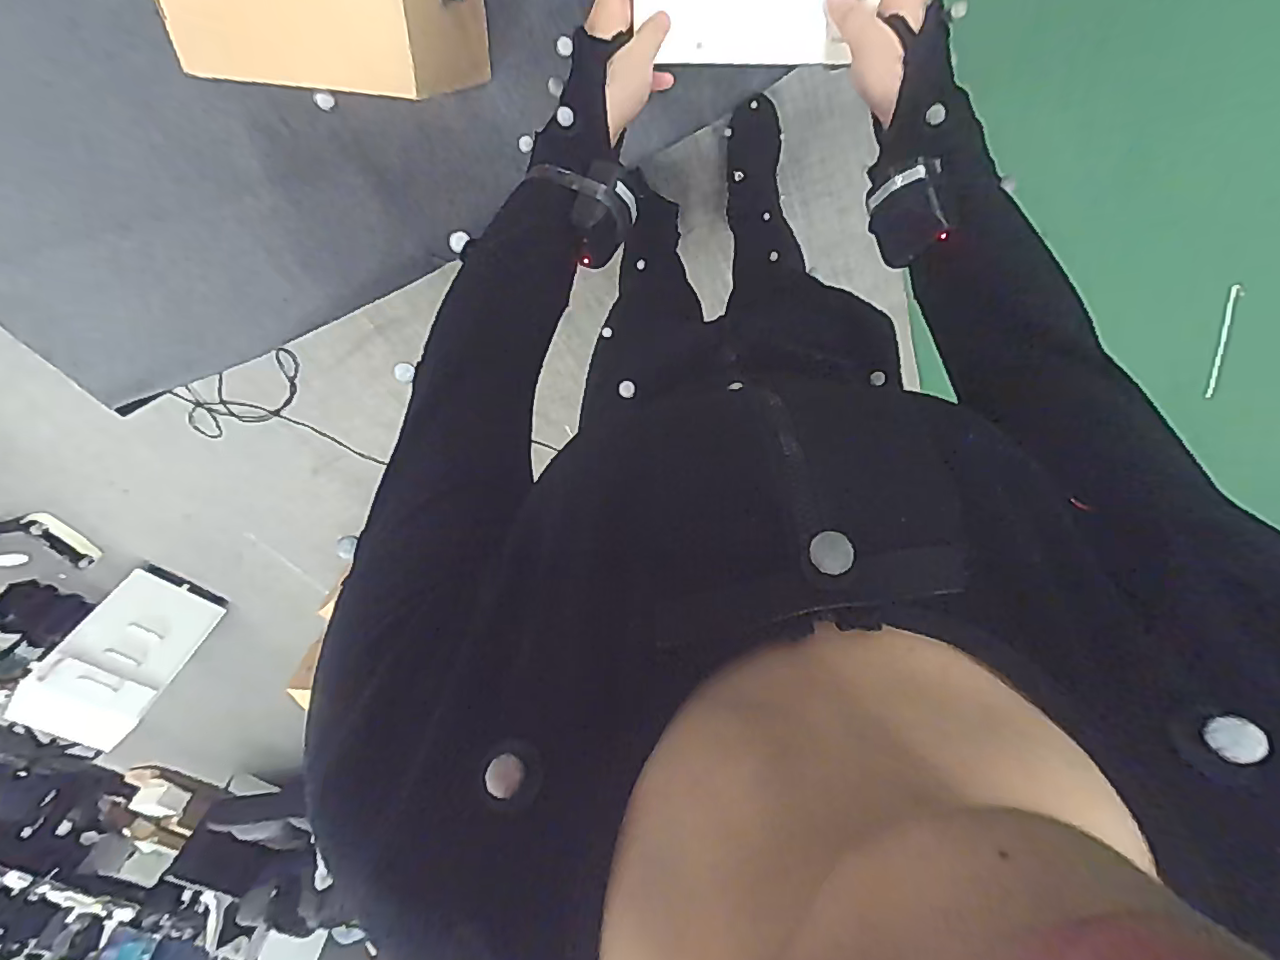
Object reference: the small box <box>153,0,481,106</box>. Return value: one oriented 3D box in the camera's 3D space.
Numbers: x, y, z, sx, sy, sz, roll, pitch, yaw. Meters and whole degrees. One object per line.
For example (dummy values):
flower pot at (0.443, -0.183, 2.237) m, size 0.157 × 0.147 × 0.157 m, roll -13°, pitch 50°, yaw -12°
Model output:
small box at (-0.226, -0.387, 0.390) m, size 0.179 × 0.176 × 0.168 m, roll 7°, pitch 131°, yaw 3°
